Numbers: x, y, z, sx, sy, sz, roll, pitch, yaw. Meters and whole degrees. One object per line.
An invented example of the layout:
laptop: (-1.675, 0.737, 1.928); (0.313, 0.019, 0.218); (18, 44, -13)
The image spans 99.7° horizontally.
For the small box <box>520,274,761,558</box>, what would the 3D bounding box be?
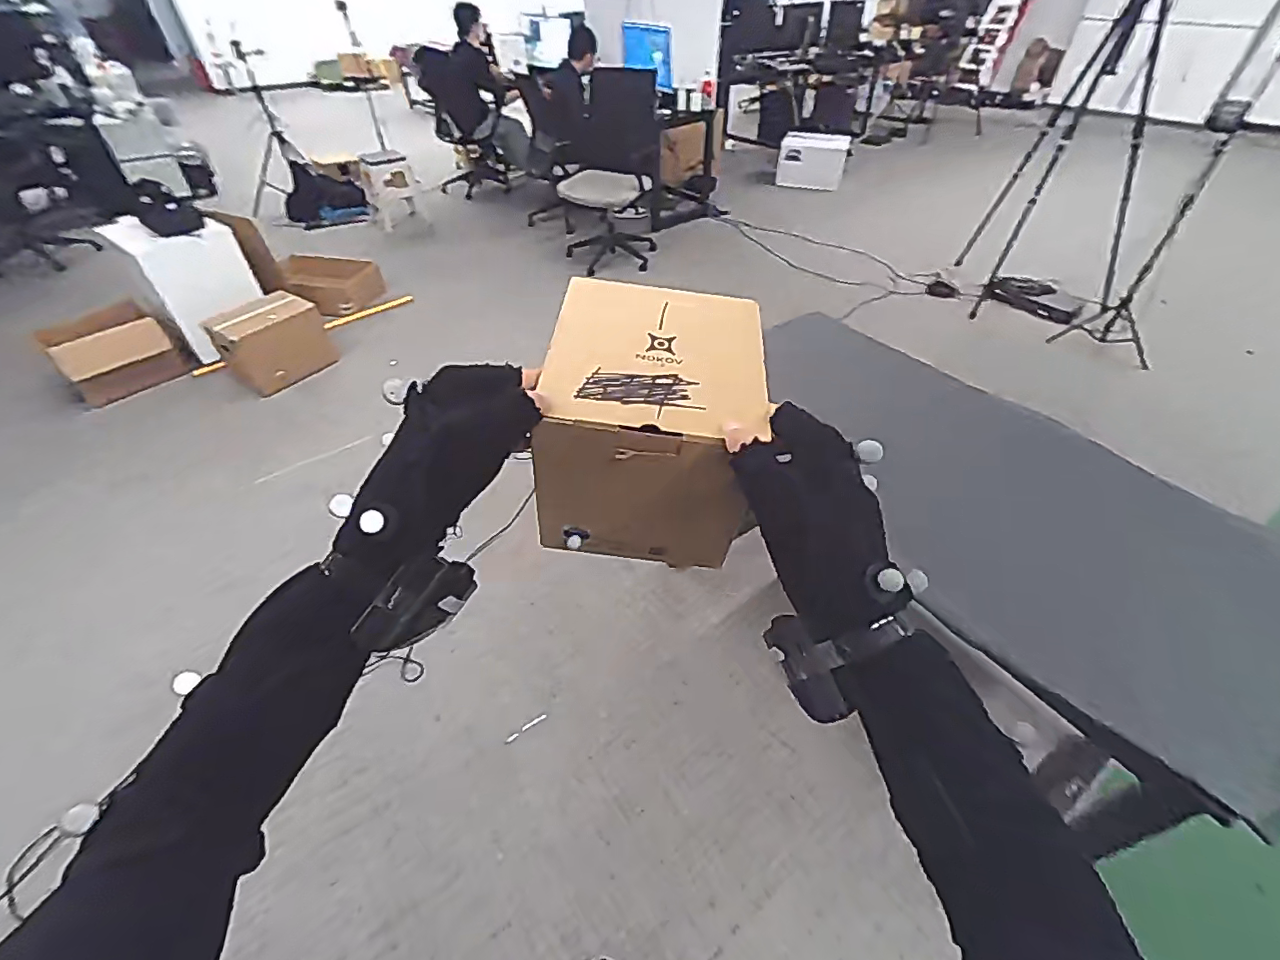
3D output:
small box: (0.001, -0.051, 0.472); (0.168, 0.176, 0.179); (7, 50, -1)
